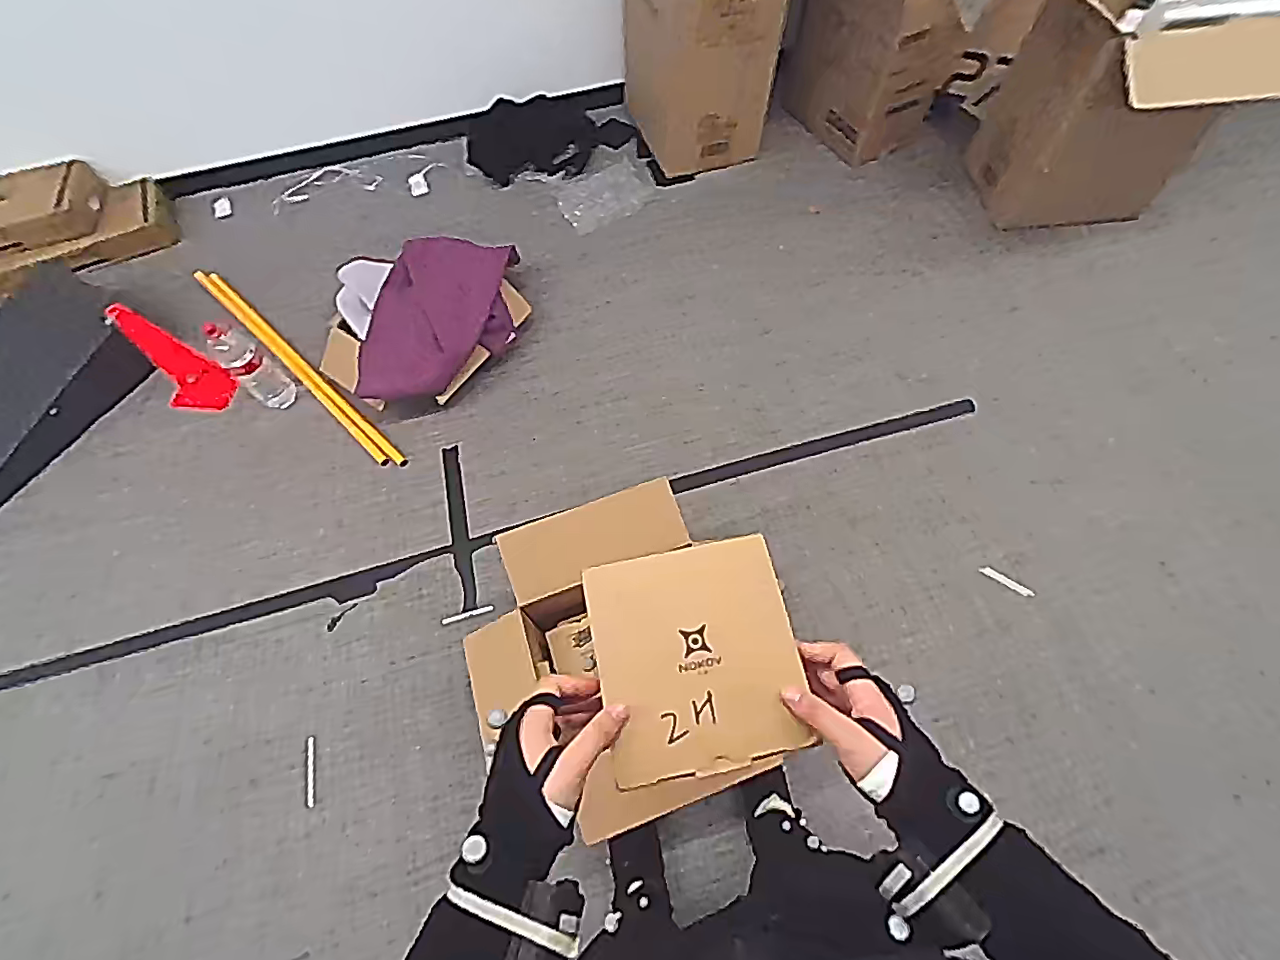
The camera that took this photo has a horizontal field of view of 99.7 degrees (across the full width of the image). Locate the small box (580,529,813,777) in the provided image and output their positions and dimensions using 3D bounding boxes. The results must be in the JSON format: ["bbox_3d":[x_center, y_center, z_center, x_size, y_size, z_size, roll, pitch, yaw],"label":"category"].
[{"bbox_3d":[0.039,0.164,0.522,0.168,0.176,0.179,-11,70,-5],"label":"small box"}]
